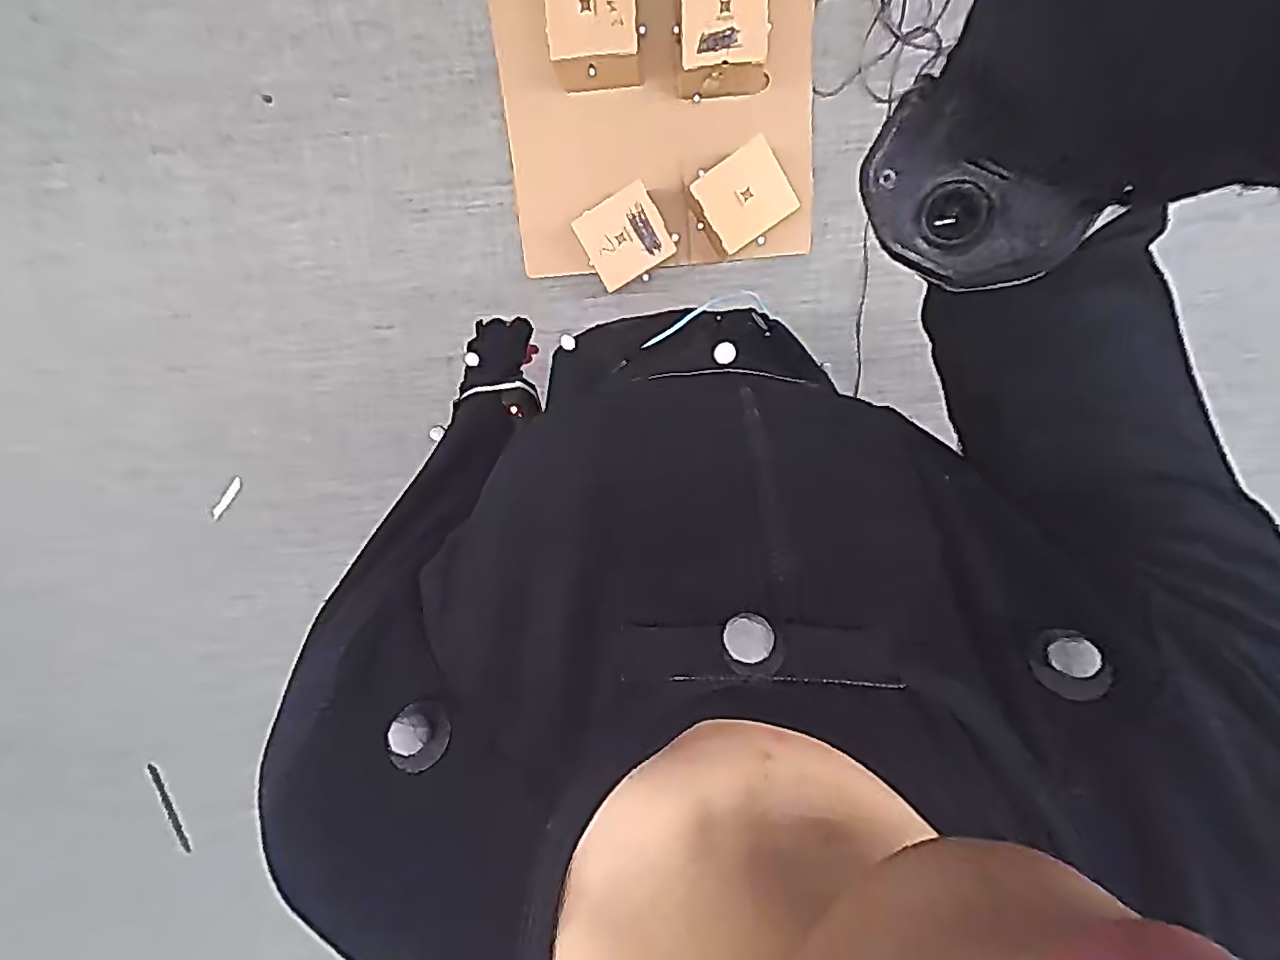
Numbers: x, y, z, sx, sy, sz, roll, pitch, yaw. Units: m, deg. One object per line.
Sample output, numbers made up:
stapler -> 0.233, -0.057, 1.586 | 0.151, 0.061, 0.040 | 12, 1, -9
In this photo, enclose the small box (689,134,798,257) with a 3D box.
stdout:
small box -> 0.221, -0.623, 1.209 | 0.179, 0.176, 0.168 | -32, 103, 13
